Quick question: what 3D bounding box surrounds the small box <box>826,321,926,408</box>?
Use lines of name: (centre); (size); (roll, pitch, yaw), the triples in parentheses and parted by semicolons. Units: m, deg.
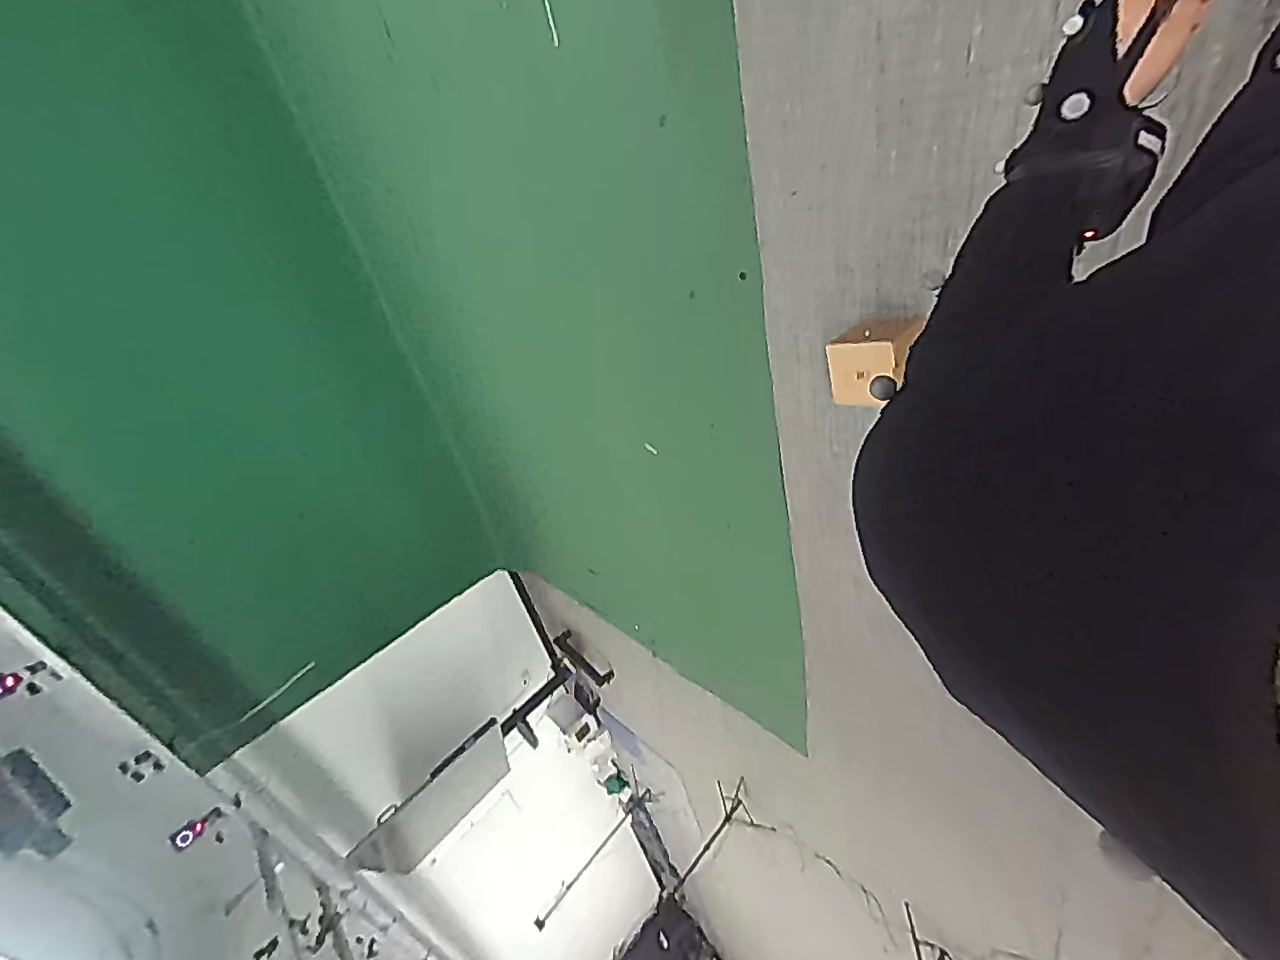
small box: (0.604, -0.294, 1.368); (0.179, 0.176, 0.168); (13, 128, 49)
